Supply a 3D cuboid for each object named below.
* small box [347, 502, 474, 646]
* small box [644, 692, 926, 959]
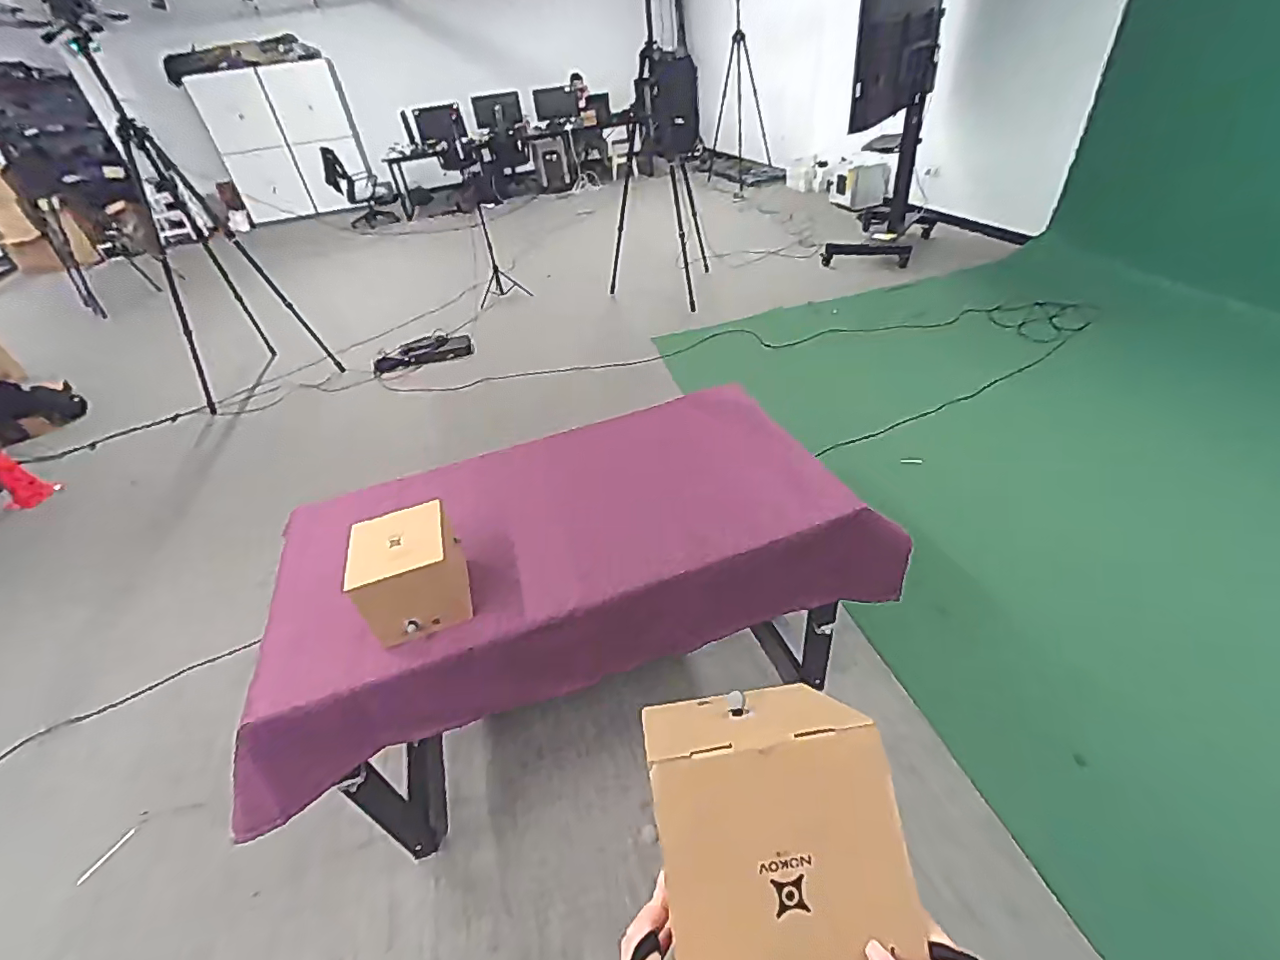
[{"bbox_3d":[-0.420,0.175,1.013,0.168,0.176,0.179,-17,40,-10],"label":"small box"},{"bbox_3d":[0.096,0.281,0.441,0.168,0.176,0.179,-8,78,-2],"label":"small box"}]
